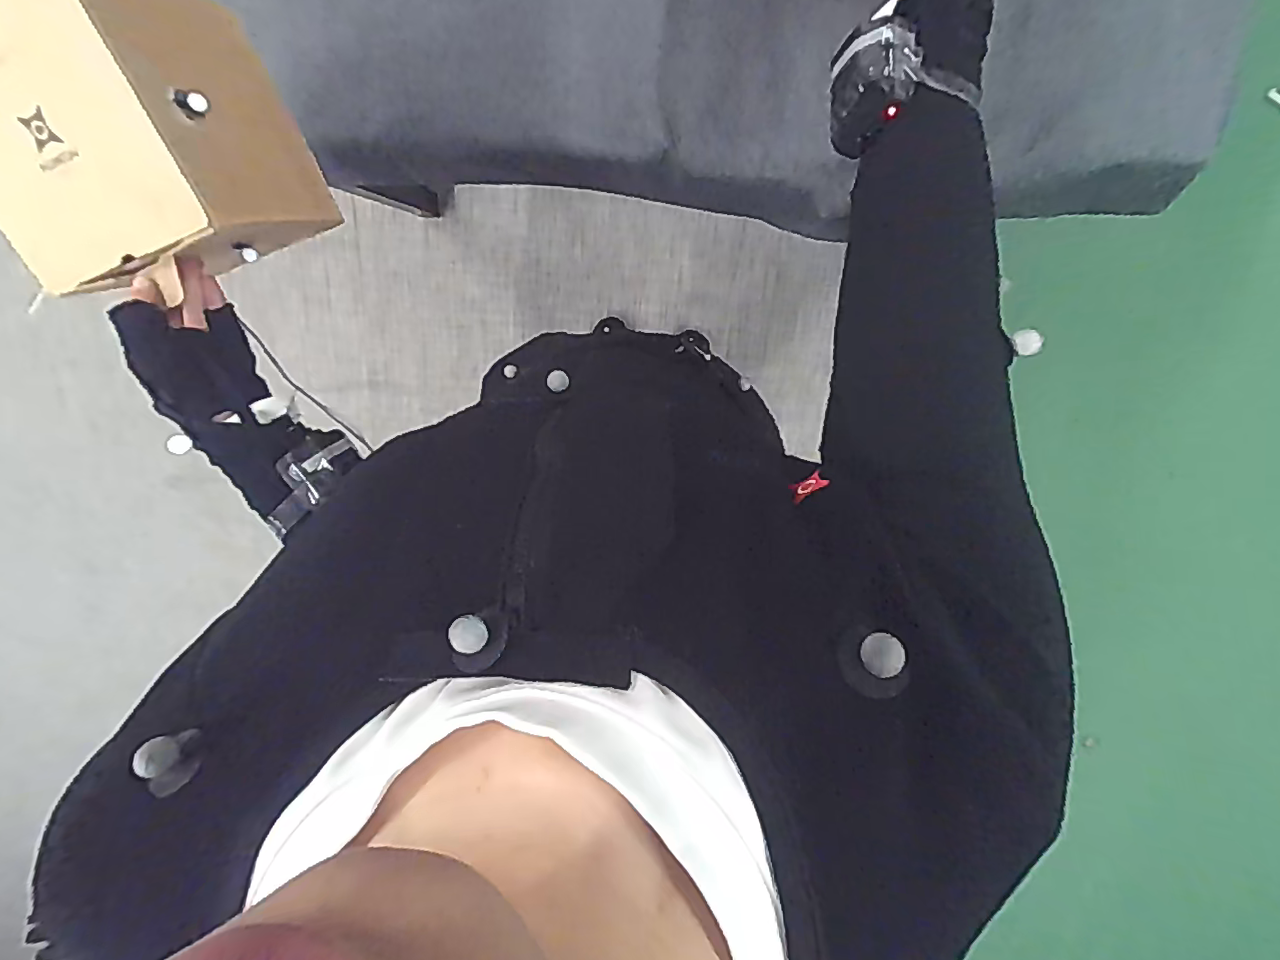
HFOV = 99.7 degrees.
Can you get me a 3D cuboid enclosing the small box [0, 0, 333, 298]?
[{"bbox_3d":[-0.397,-0.268,0.437,0.168,0.176,0.179,-15,114,12],"label":"small box"}]
